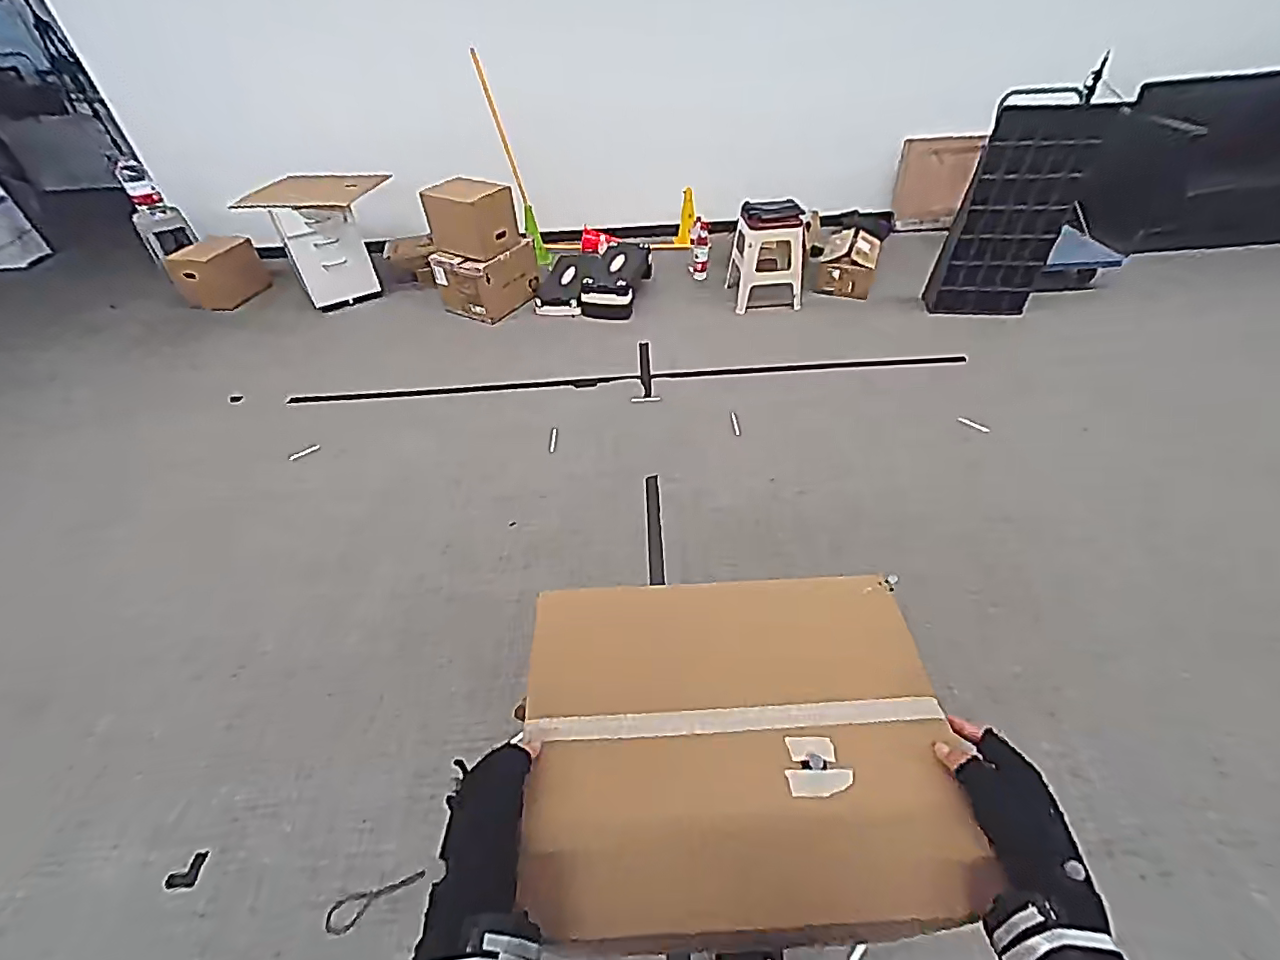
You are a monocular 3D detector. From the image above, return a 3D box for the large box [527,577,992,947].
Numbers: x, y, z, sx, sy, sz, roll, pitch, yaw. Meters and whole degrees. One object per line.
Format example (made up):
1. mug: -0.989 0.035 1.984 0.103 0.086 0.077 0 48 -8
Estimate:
1. large box: 0.095 0.343 0.659 0.408 0.320 0.320 -3 47 -1
